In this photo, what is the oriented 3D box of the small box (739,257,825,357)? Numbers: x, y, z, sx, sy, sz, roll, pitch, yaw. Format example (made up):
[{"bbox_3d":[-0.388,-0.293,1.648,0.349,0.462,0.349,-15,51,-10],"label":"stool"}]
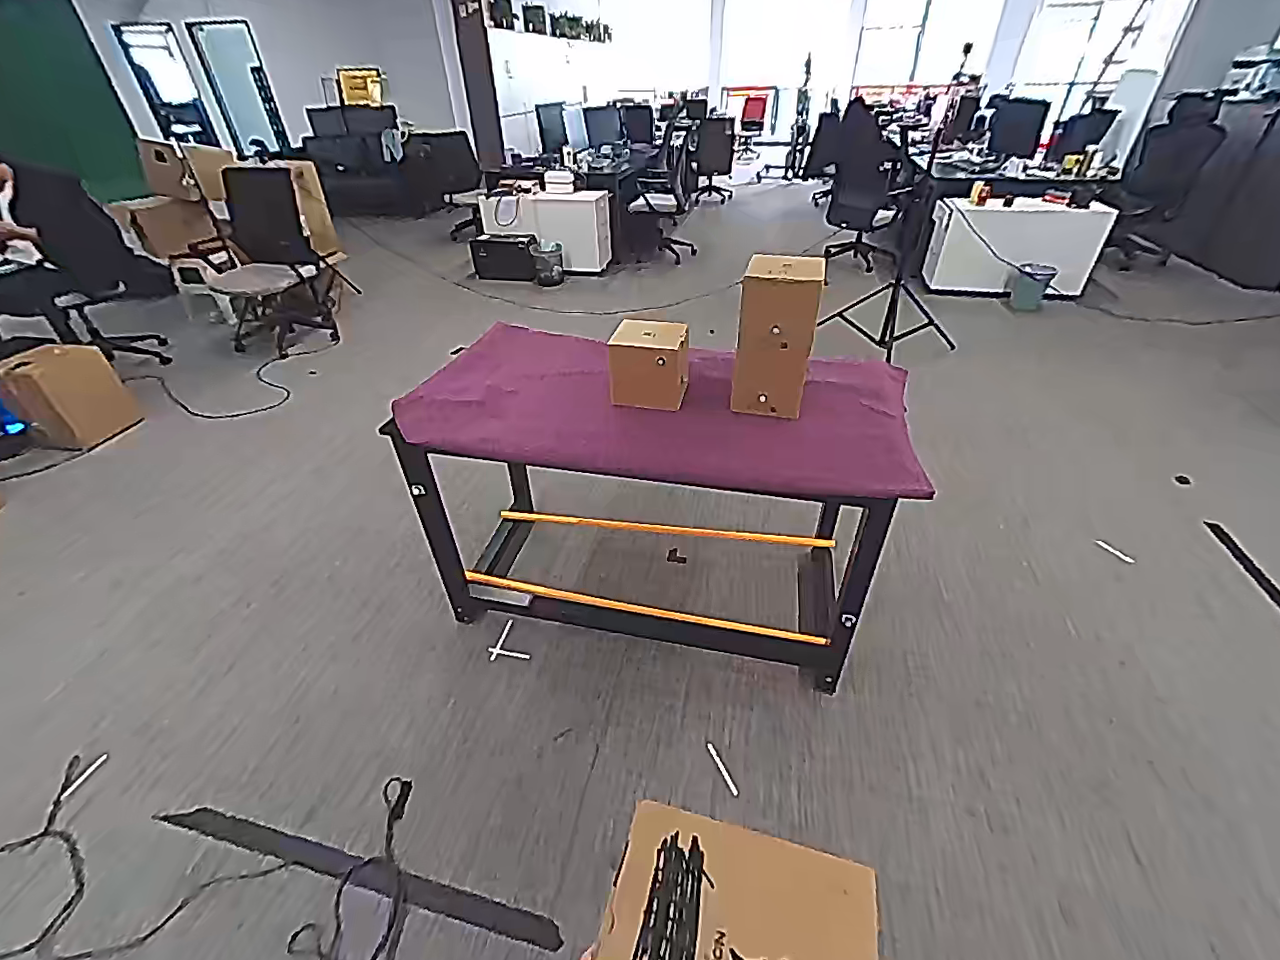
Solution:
[{"bbox_3d":[0.323,-0.399,1.241,0.168,0.176,0.179,8,38,14],"label":"small box"}]

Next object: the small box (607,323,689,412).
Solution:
[{"bbox_3d":[0.024,-0.287,1.381,0.179,0.176,0.168,7,37,11],"label":"small box"}]

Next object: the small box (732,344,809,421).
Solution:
[{"bbox_3d":[0.324,-0.268,1.341,0.168,0.176,0.179,9,39,14],"label":"small box"}]
